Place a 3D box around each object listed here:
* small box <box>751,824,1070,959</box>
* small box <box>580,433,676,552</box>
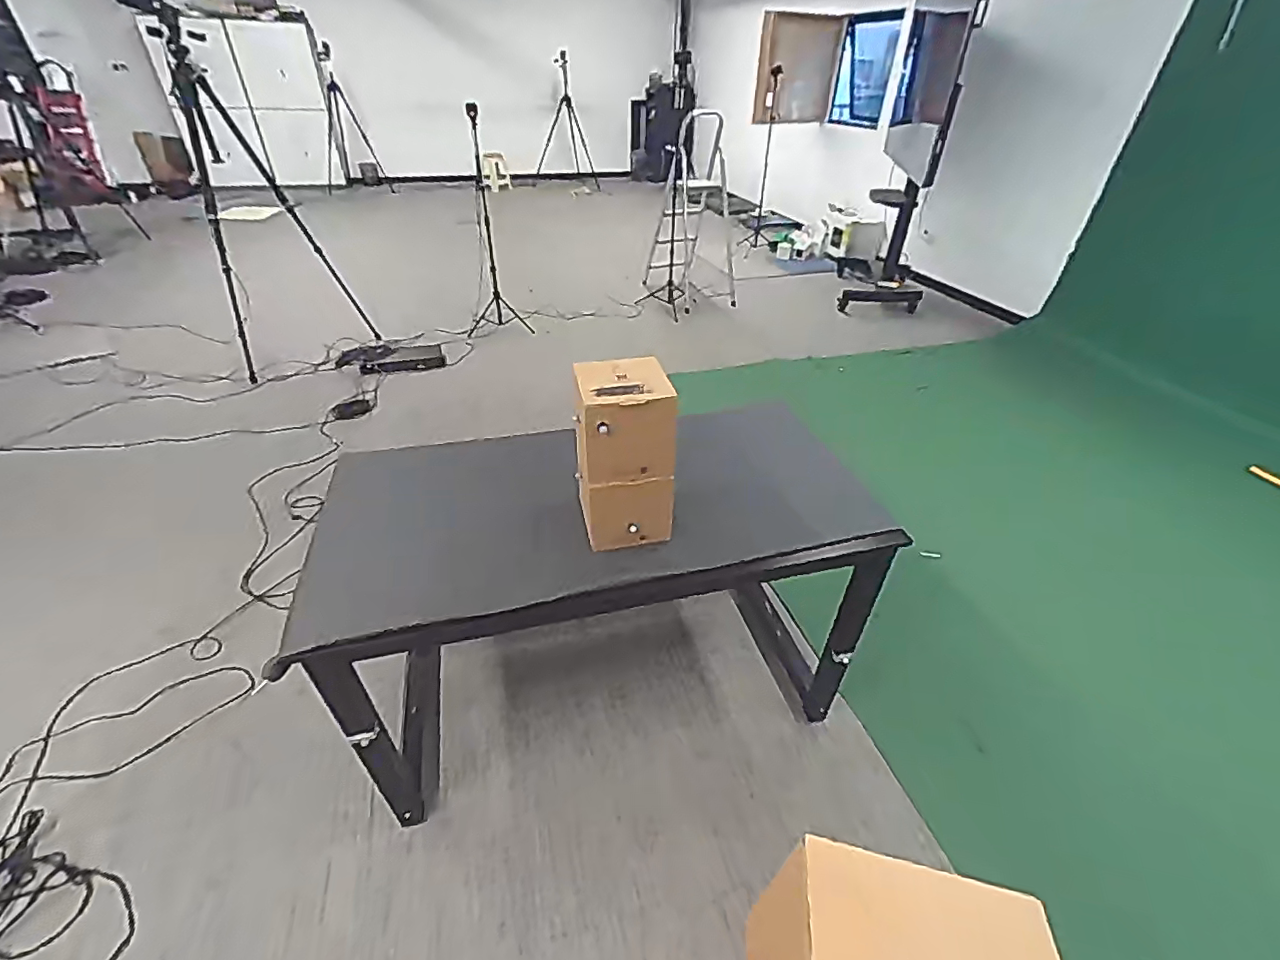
[{"bbox_3d":[0.172,0.376,0.357,0.168,0.176,0.179,12,36,5],"label":"small box"},{"bbox_3d":[-0.030,0.023,1.122,0.168,0.176,0.179,-8,37,-11],"label":"small box"}]
